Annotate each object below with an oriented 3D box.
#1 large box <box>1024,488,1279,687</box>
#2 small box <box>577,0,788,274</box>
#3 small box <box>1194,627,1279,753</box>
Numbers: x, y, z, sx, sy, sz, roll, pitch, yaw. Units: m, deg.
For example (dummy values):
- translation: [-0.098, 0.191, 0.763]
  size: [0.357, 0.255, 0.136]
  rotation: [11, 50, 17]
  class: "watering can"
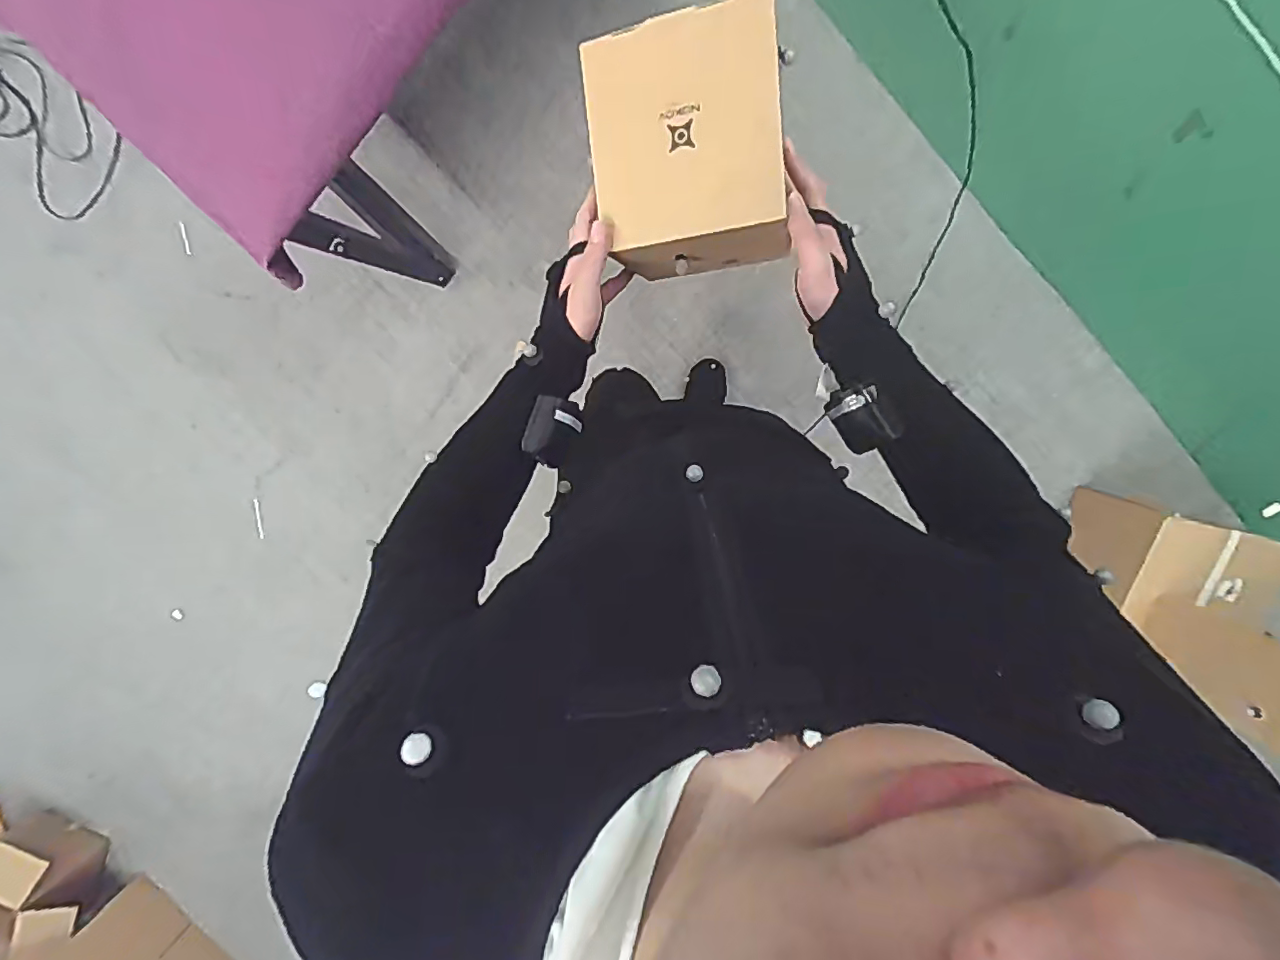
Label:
- translation: [1.321, 0.271, 1.431]
  size: [0.320, 0.320, 0.408]
  rotation: [13, 102, 1]
  class: "large box"
- translation: [0.055, -0.312, 0.534]
  size: [0.168, 0.176, 0.179]
  rotation: [-4, 99, 17]
  class: "small box"
- translation: [1.253, 0.419, 1.048]
  size: [0.168, 0.176, 0.179]
  rotation: [18, 103, 1]
  class: "small box"
